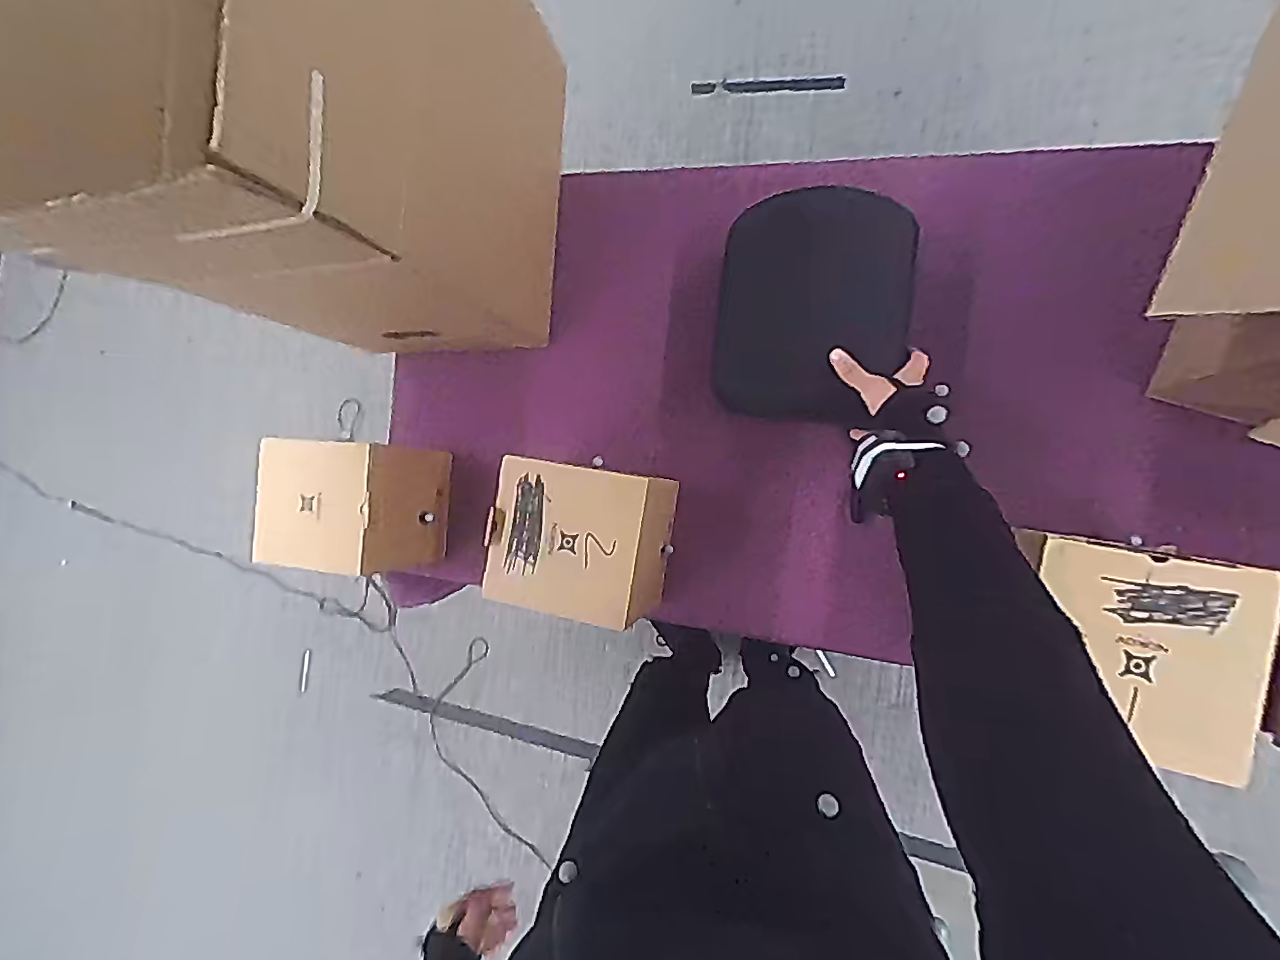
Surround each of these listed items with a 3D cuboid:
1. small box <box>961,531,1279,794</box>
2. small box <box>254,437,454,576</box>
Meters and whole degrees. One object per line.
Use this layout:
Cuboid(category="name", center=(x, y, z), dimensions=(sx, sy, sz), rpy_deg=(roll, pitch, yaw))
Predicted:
Cuboid(category="small box", center=(0.431, 0.150, 0.519), dimensions=(0.168, 0.176, 0.179), rpy_deg=(10, 92, 16))
Cuboid(category="small box", center=(-0.392, 0.034, 0.760), dimensions=(0.179, 0.176, 0.168), rpy_deg=(4, 89, 15))
